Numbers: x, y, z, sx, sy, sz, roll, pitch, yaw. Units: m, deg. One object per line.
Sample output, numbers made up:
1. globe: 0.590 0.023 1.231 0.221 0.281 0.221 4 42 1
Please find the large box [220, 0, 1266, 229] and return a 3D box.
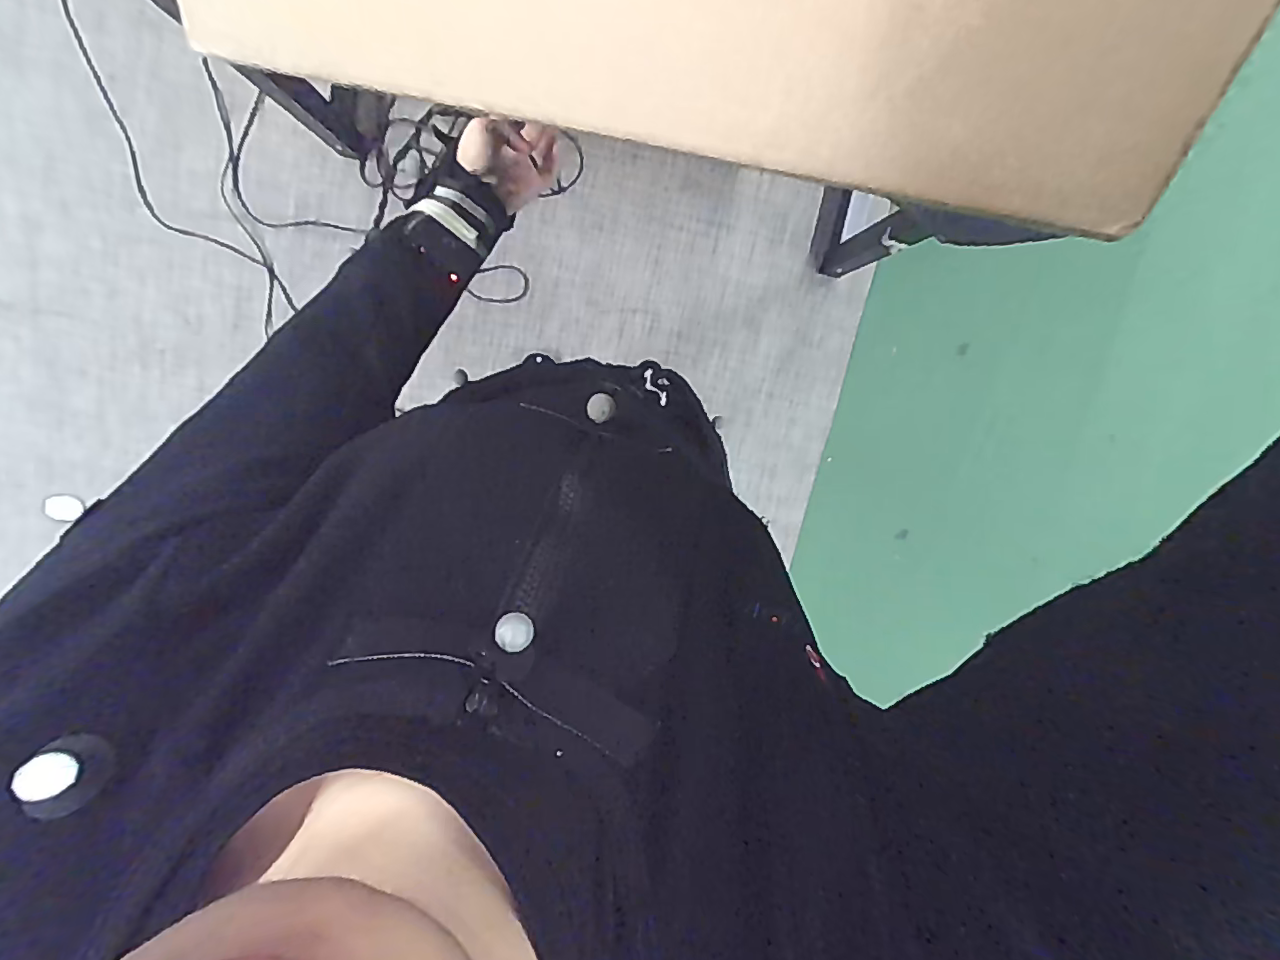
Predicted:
1. large box: 0.051 -0.337 0.258 0.408 0.320 0.320 17 126 12
